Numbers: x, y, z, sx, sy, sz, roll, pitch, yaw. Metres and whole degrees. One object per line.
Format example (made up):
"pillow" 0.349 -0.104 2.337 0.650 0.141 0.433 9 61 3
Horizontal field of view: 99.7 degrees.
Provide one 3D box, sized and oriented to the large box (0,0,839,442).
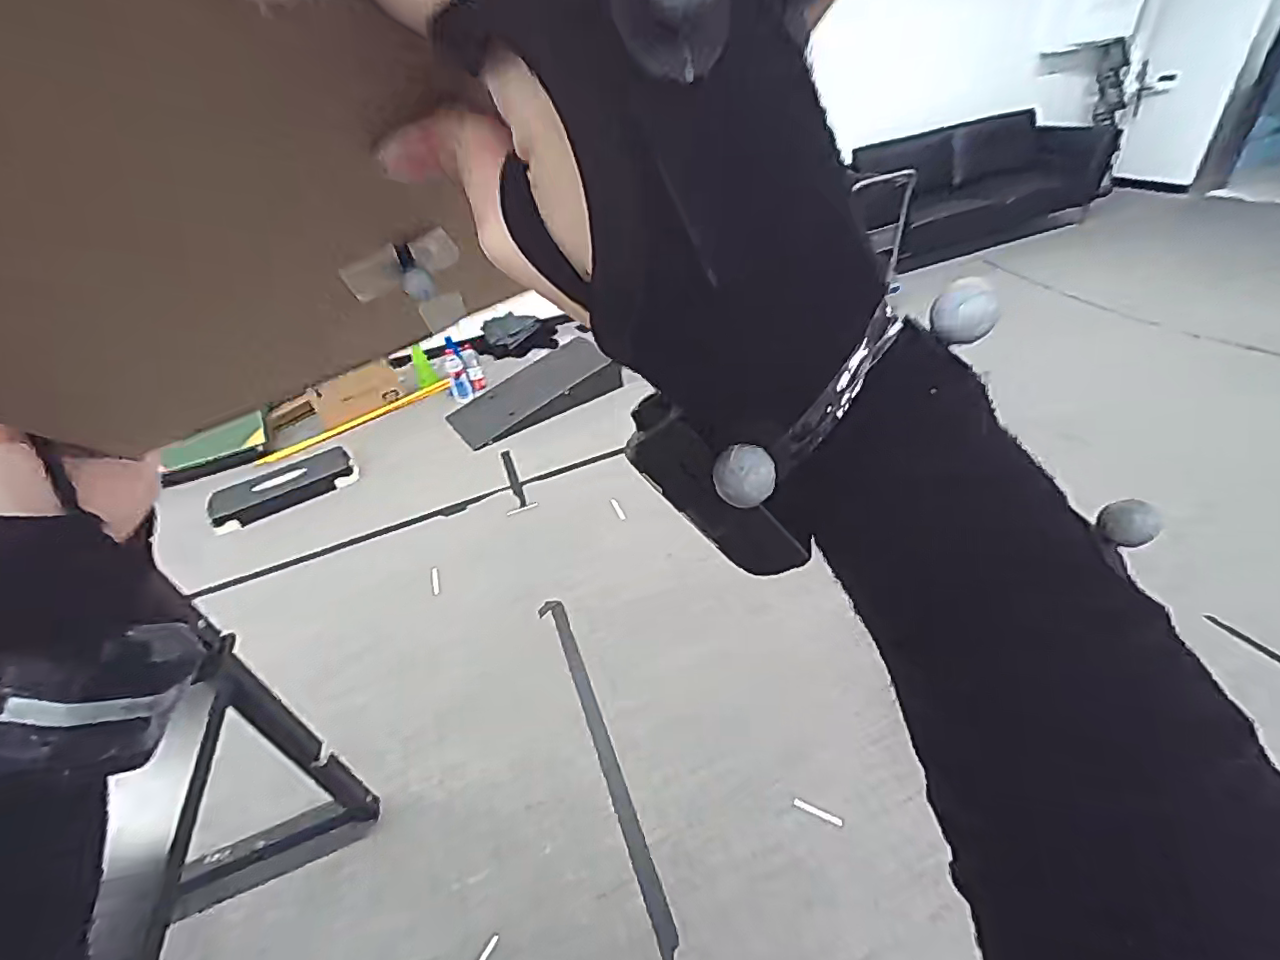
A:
"large box" -0.145 -0.276 0.153 0.320 0.408 0.320 -30 2 -20
